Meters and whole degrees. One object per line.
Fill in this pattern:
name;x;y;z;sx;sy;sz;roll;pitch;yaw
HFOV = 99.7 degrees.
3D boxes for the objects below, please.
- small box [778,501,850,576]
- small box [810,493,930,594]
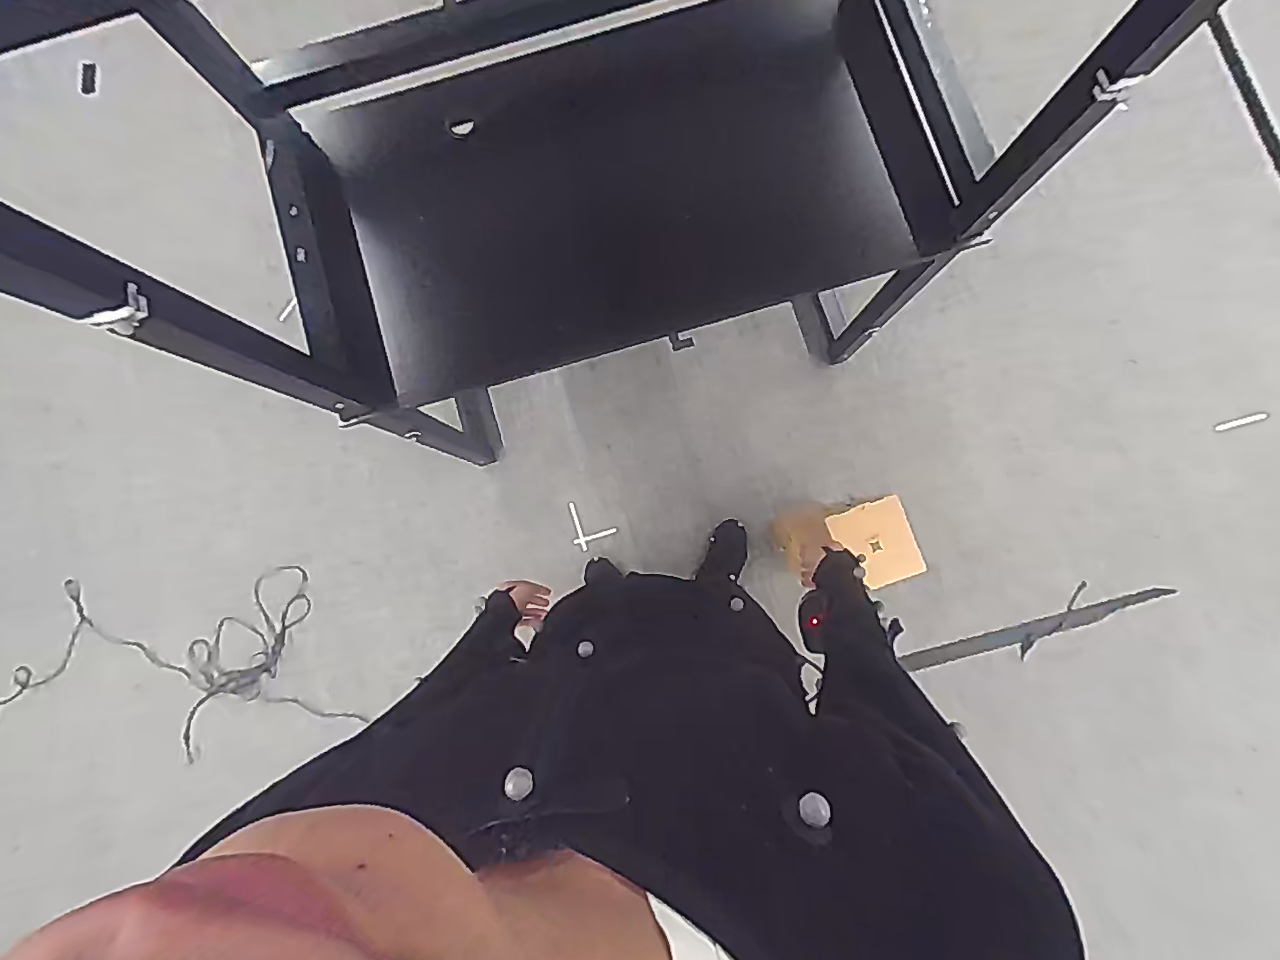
small box;0.515;0.164;1.538;0.179;0.176;0.168;-18;84;1
small box;0.505;0.138;1.212;0.168;0.176;0.179;-20;84;1
